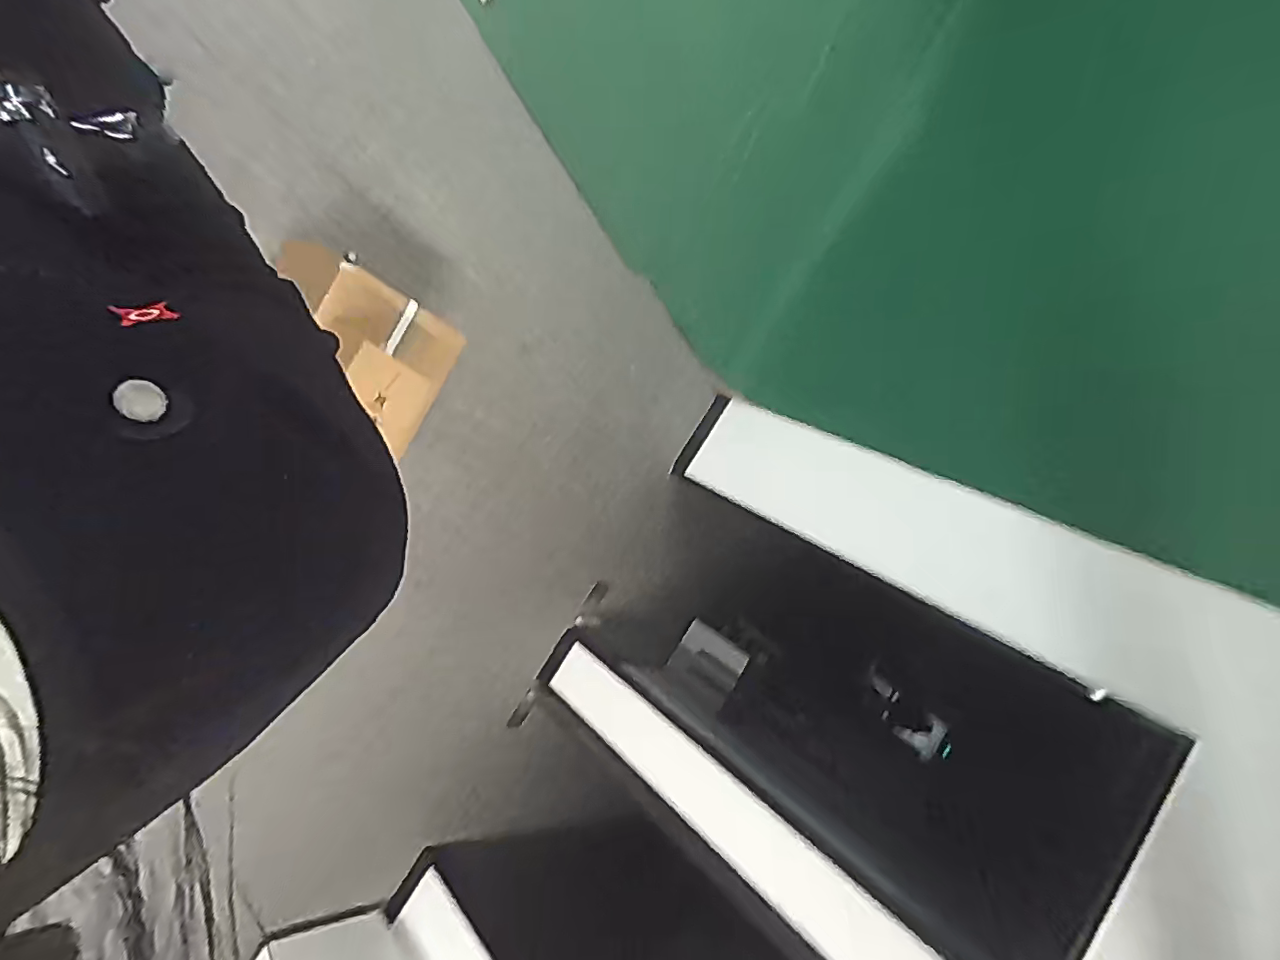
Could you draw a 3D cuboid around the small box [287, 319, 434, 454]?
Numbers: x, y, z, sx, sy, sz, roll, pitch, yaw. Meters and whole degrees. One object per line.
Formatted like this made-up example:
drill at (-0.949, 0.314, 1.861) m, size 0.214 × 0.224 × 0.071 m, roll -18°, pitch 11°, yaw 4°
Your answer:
small box at (-0.548, -0.183, 1.052) m, size 0.179 × 0.176 × 0.168 m, roll -58°, pitch 145°, yaw -6°
